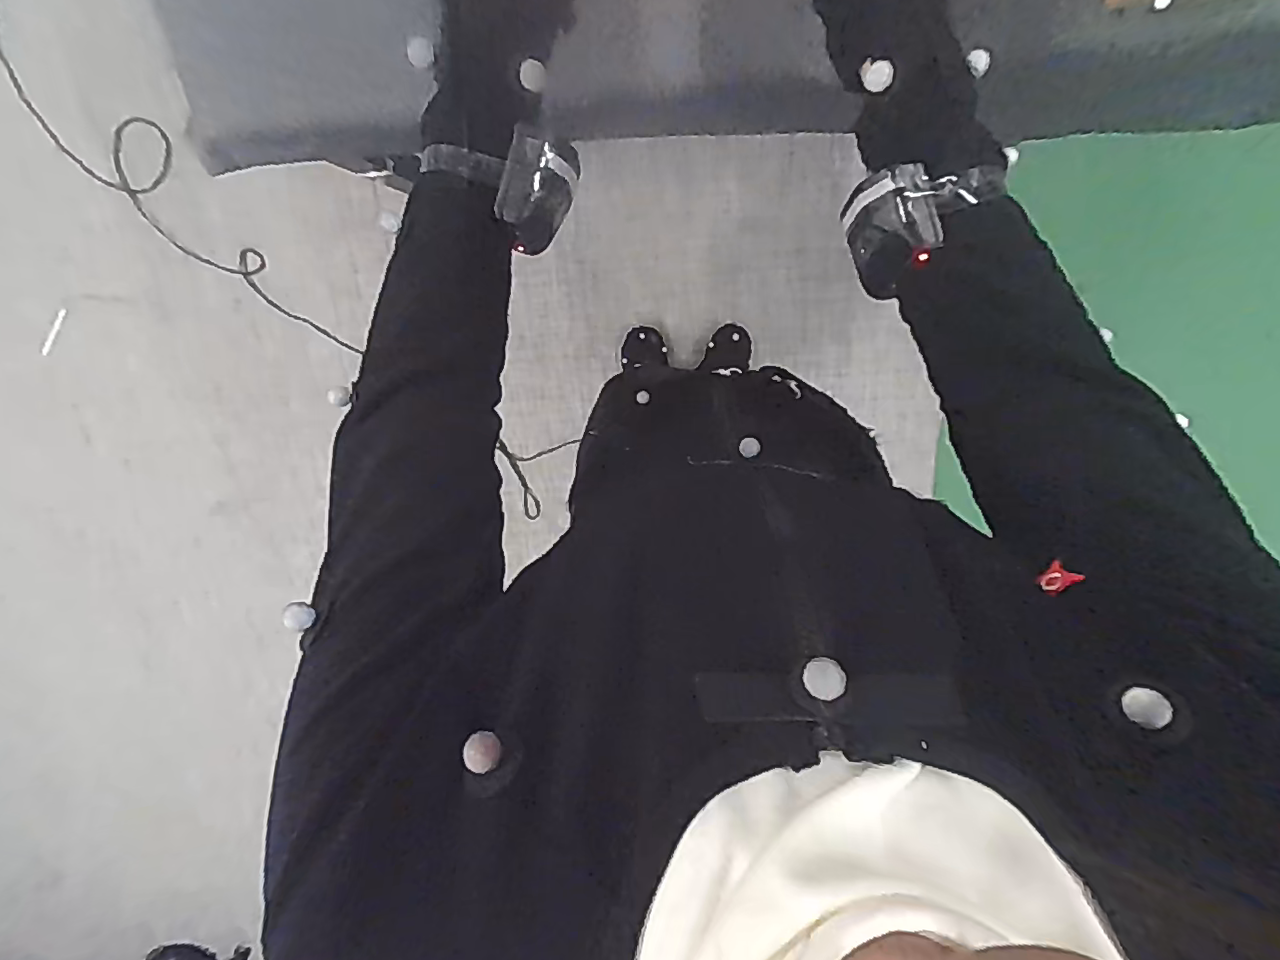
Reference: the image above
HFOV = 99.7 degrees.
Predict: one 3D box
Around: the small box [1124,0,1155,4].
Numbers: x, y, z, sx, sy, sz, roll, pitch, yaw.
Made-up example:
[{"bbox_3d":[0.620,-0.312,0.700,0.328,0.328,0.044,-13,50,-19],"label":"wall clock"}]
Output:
[{"bbox_3d":[0.514,-0.521,0.424,0.168,0.176,0.179,-8,107,4],"label":"small box"}]
